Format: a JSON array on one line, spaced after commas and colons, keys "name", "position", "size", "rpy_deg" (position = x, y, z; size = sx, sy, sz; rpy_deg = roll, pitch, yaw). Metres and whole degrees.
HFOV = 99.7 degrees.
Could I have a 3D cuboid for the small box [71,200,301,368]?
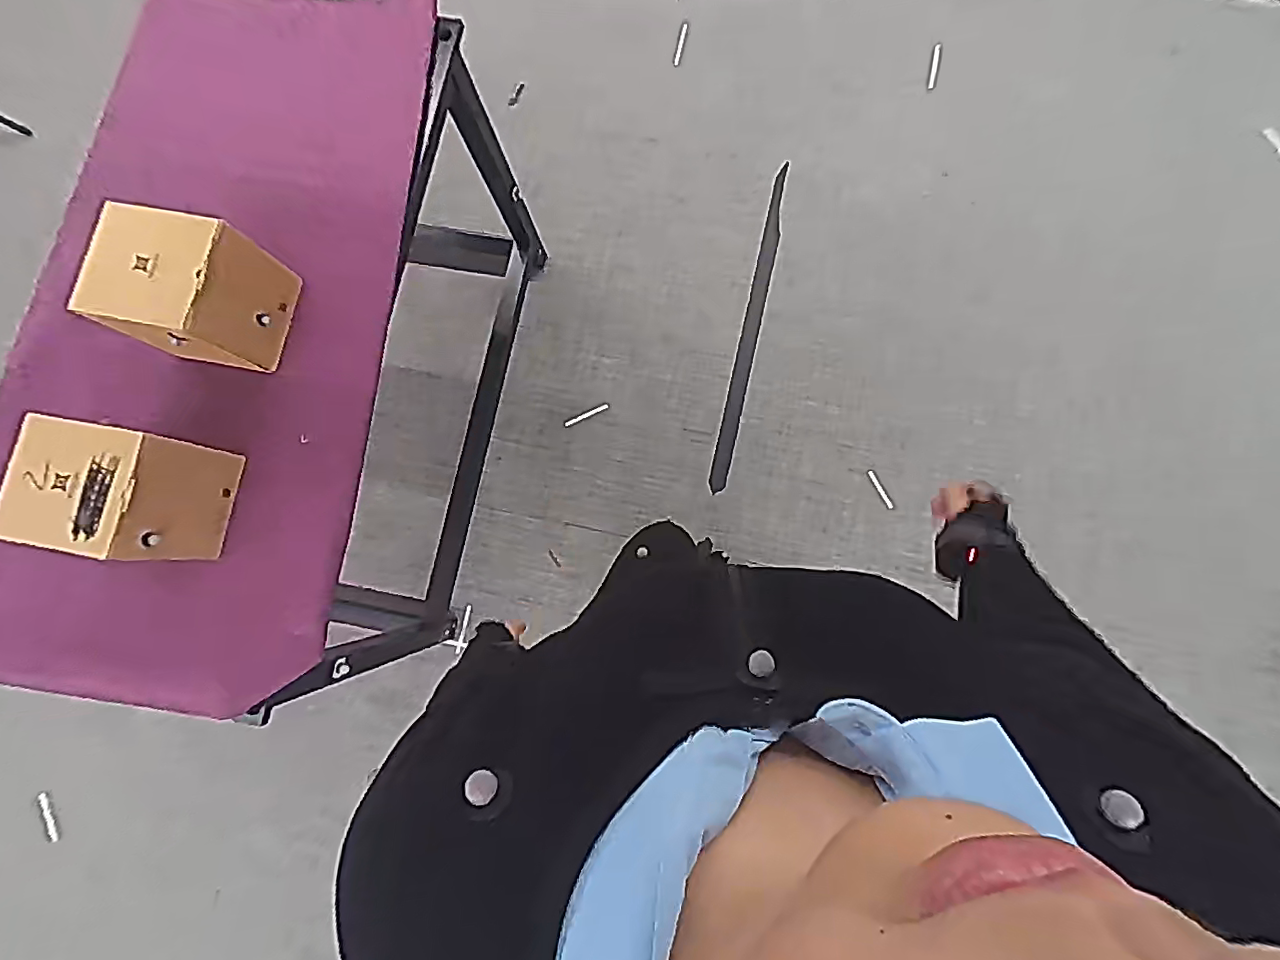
[{"name": "small box", "position": [-0.661, -0.282, 0.809], "size": [0.179, 0.176, 0.168], "rpy_deg": [11, 82, 5]}]
